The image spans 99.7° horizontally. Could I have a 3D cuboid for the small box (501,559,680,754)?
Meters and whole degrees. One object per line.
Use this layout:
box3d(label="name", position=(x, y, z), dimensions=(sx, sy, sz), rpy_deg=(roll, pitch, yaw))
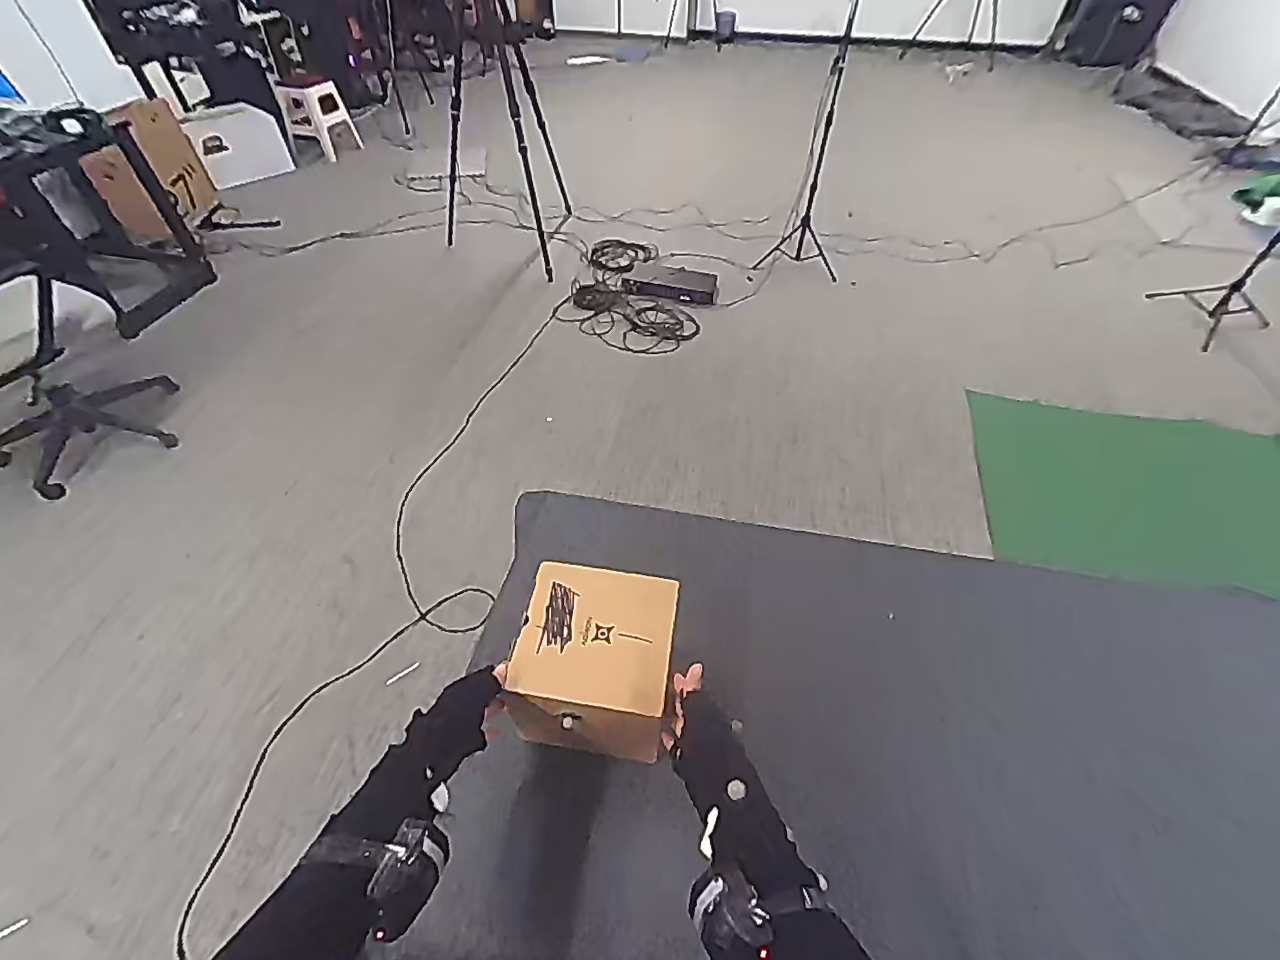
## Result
box3d(label="small box", position=(-0.051, 0.223, 0.674), dimensions=(0.179, 0.176, 0.168), rpy_deg=(8, 49, 5))
